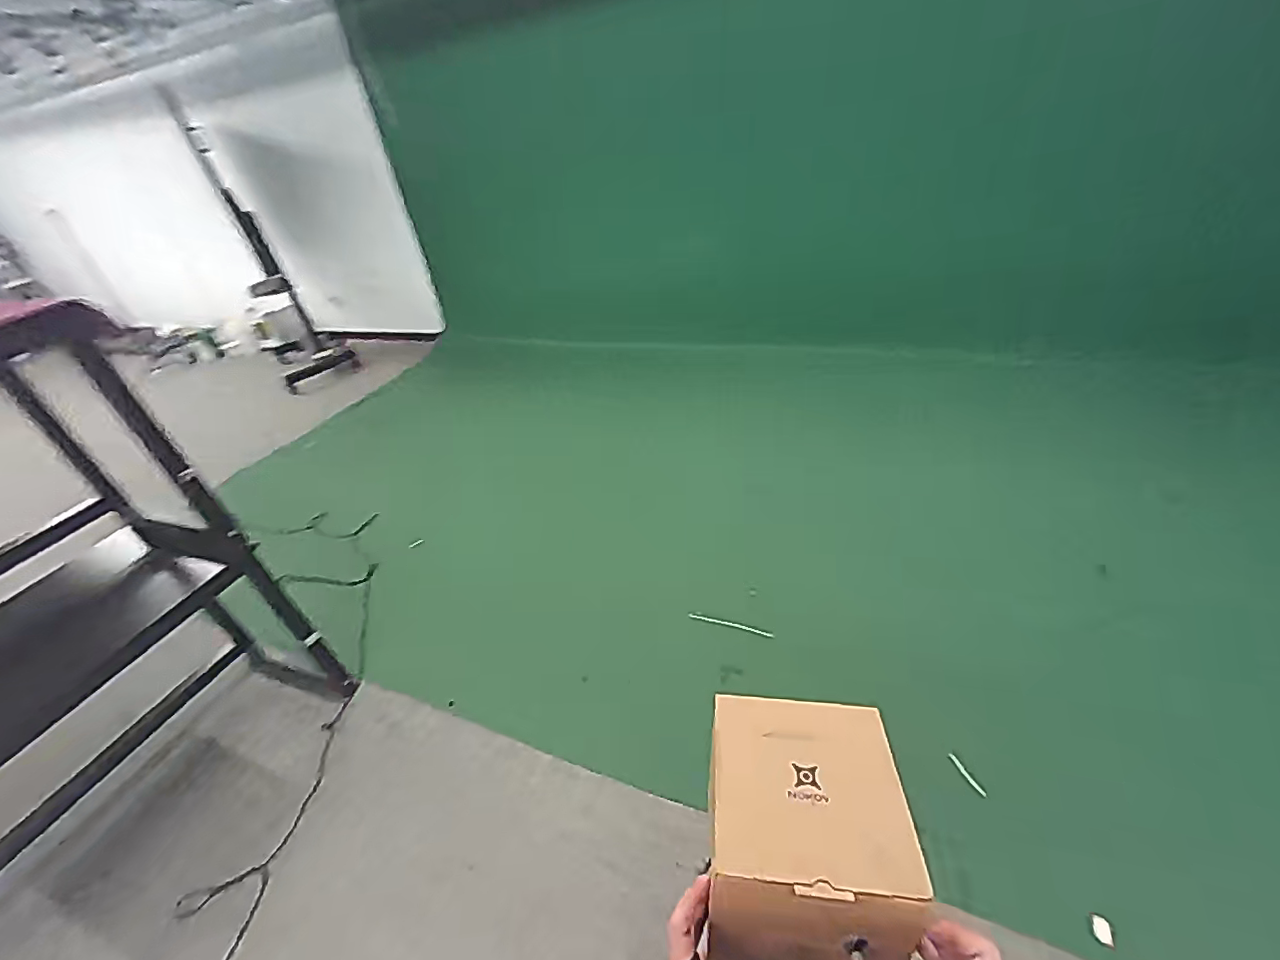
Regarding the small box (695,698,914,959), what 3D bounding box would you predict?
[{"bbox_3d":[0.139,0.343,0.519,0.168,0.176,0.179,2,28,7],"label":"small box"}]
